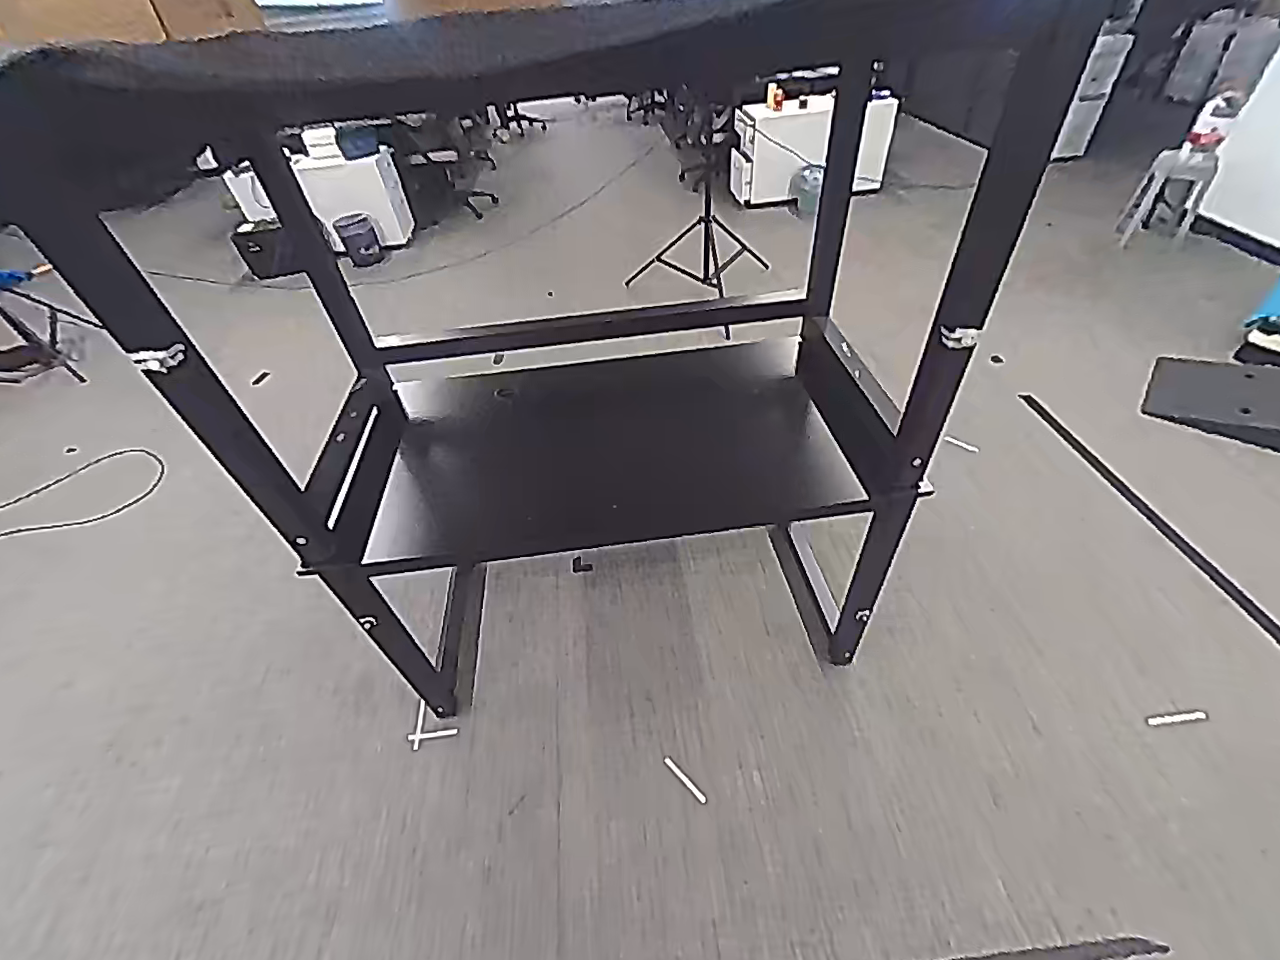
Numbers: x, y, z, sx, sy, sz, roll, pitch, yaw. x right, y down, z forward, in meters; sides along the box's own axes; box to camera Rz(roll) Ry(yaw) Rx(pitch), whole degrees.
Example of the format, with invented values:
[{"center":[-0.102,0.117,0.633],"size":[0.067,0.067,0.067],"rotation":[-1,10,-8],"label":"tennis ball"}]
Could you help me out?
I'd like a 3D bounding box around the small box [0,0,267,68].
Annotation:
[{"center":[-0.532,-0.525,0.537],"size":[0.179,0.176,0.168],"rotation":[-1,42,5],"label":"small box"}]
